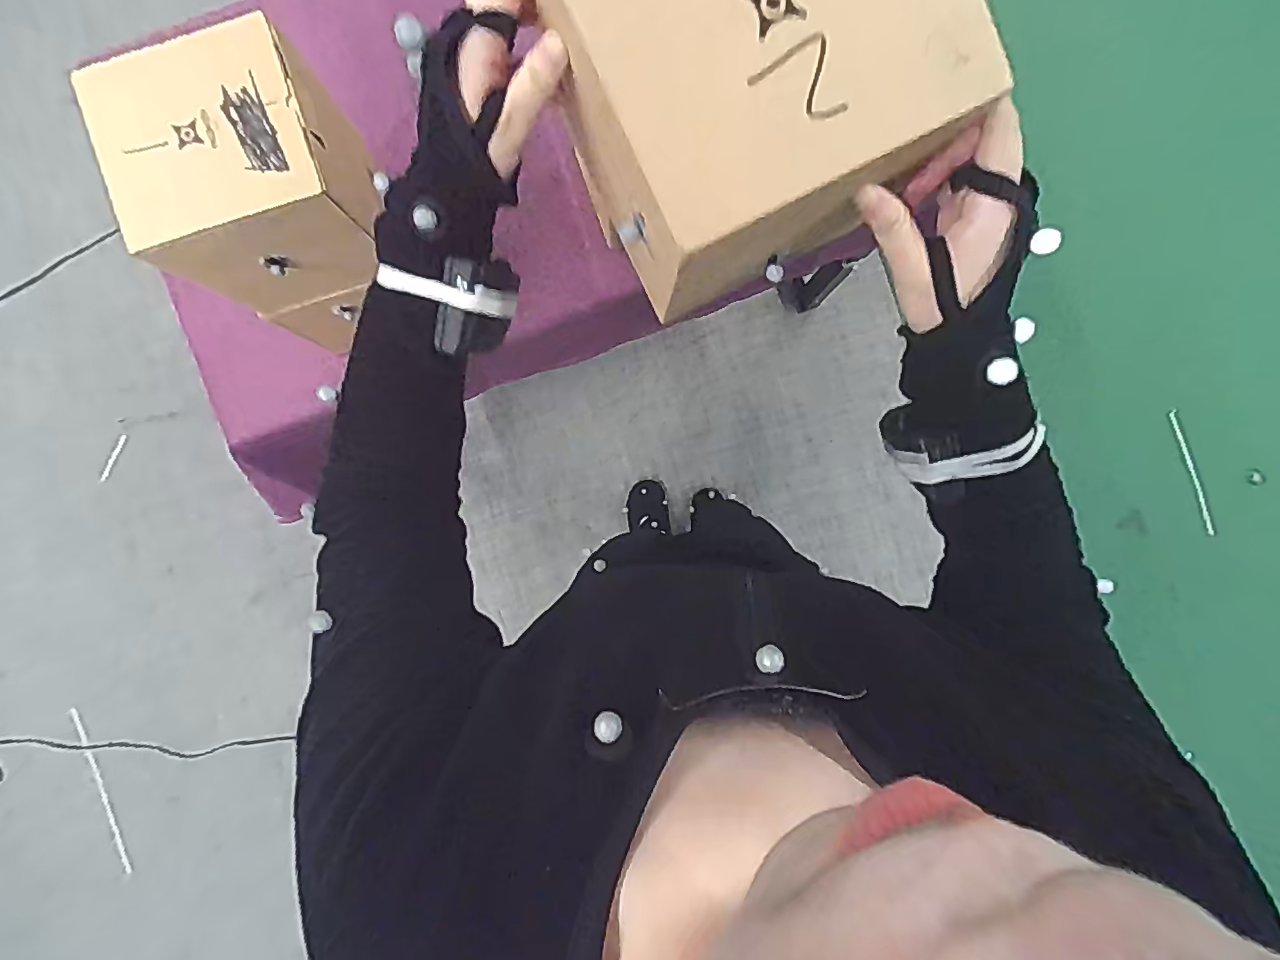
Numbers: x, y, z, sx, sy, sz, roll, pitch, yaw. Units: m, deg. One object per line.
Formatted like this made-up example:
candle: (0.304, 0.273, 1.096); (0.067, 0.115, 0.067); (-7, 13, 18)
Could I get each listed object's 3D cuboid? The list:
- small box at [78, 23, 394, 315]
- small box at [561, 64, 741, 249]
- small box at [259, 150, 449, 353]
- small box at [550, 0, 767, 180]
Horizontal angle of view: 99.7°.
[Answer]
small box: (-0.374, -0.289, 0.543); (0.179, 0.176, 0.168); (-19, 90, 0)
small box: (0.011, -0.439, 0.713); (0.179, 0.176, 0.168); (-20, 88, -1)
small box: (-0.380, -0.282, 0.707); (0.179, 0.176, 0.168); (-18, 90, -2)
small box: (0.007, -0.452, 0.550); (0.168, 0.176, 0.179); (-19, 90, 0)
